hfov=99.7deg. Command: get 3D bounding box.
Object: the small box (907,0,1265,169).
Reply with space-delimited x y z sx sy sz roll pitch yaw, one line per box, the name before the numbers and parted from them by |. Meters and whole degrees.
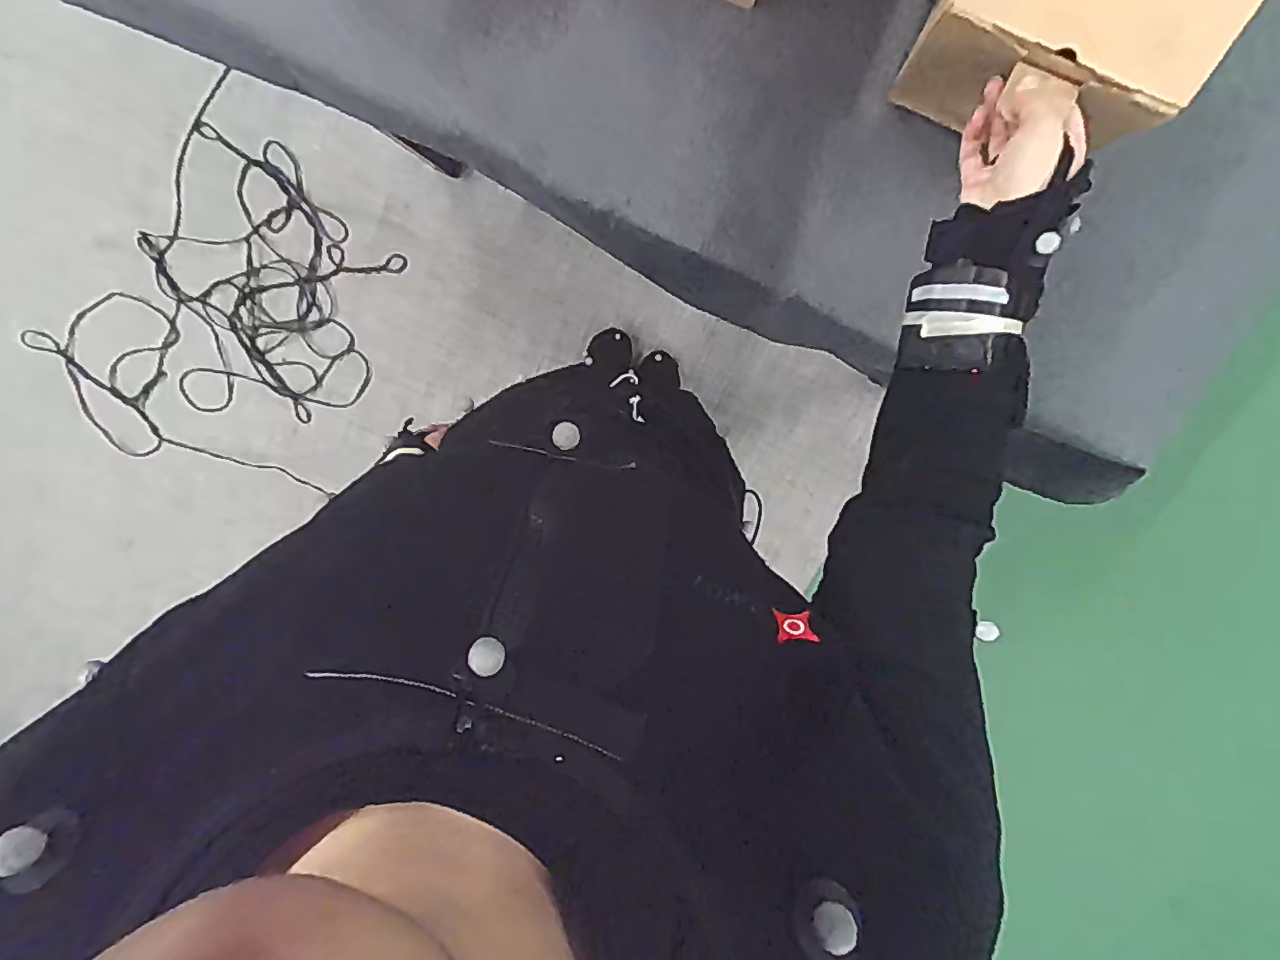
small box | 0.326 -0.363 0.397 0.168 0.176 0.179 27 109 2
